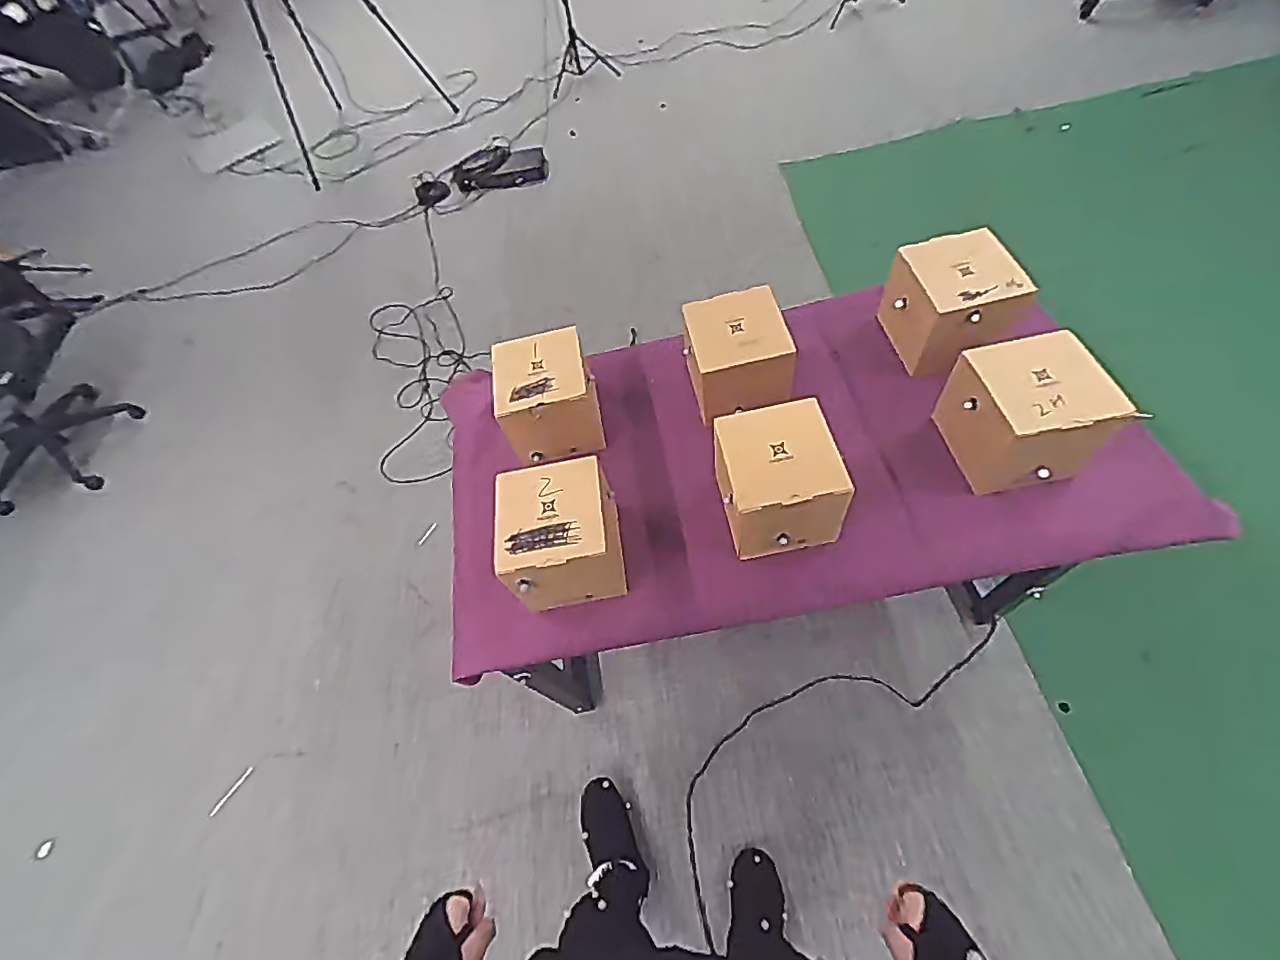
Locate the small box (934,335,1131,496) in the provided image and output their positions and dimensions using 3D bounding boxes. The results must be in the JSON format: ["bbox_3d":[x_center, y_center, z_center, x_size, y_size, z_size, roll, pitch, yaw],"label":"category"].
[{"bbox_3d":[0.604,-0.099,0.865,0.168,0.176,0.179,-11,57,4],"label":"small box"}]

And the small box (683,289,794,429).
[{"bbox_3d":[0.179,-0.224,1.020,0.168,0.176,0.179,-12,59,3],"label":"small box"}]

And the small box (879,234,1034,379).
[{"bbox_3d":[0.570,-0.317,1.006,0.168,0.176,0.179,-12,58,3],"label":"small box"}]

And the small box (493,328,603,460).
[{"bbox_3d":[-0.172,-0.155,1.036,0.168,0.176,0.179,-12,58,2],"label":"small box"}]
